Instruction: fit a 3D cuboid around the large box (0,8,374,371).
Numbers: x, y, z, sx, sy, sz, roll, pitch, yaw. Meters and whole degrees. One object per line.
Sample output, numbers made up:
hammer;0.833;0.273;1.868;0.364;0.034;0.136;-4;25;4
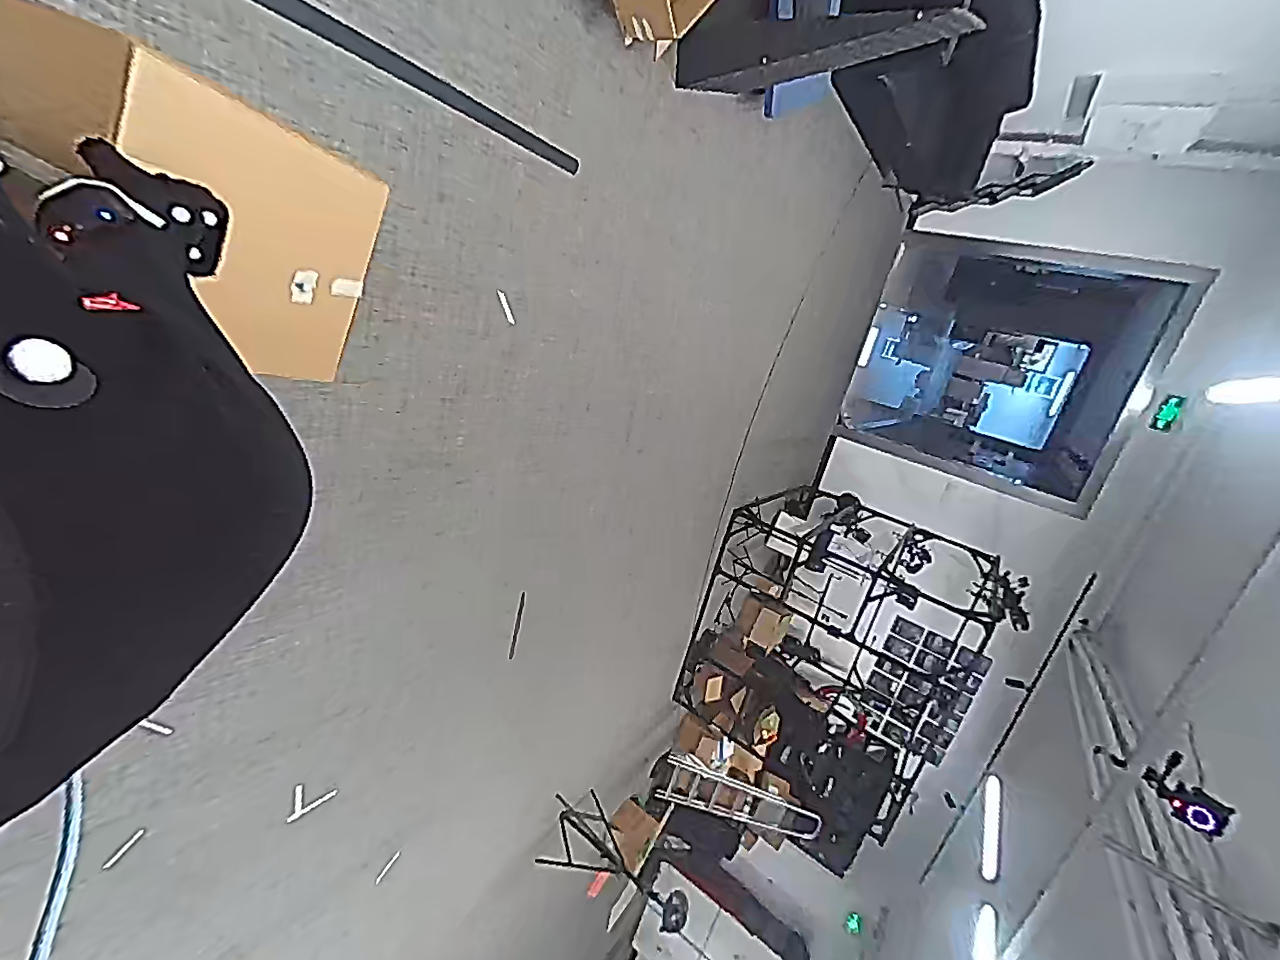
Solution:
large box;-0.656;-0.369;0.744;0.320;0.408;0.320;-12;126;-68
